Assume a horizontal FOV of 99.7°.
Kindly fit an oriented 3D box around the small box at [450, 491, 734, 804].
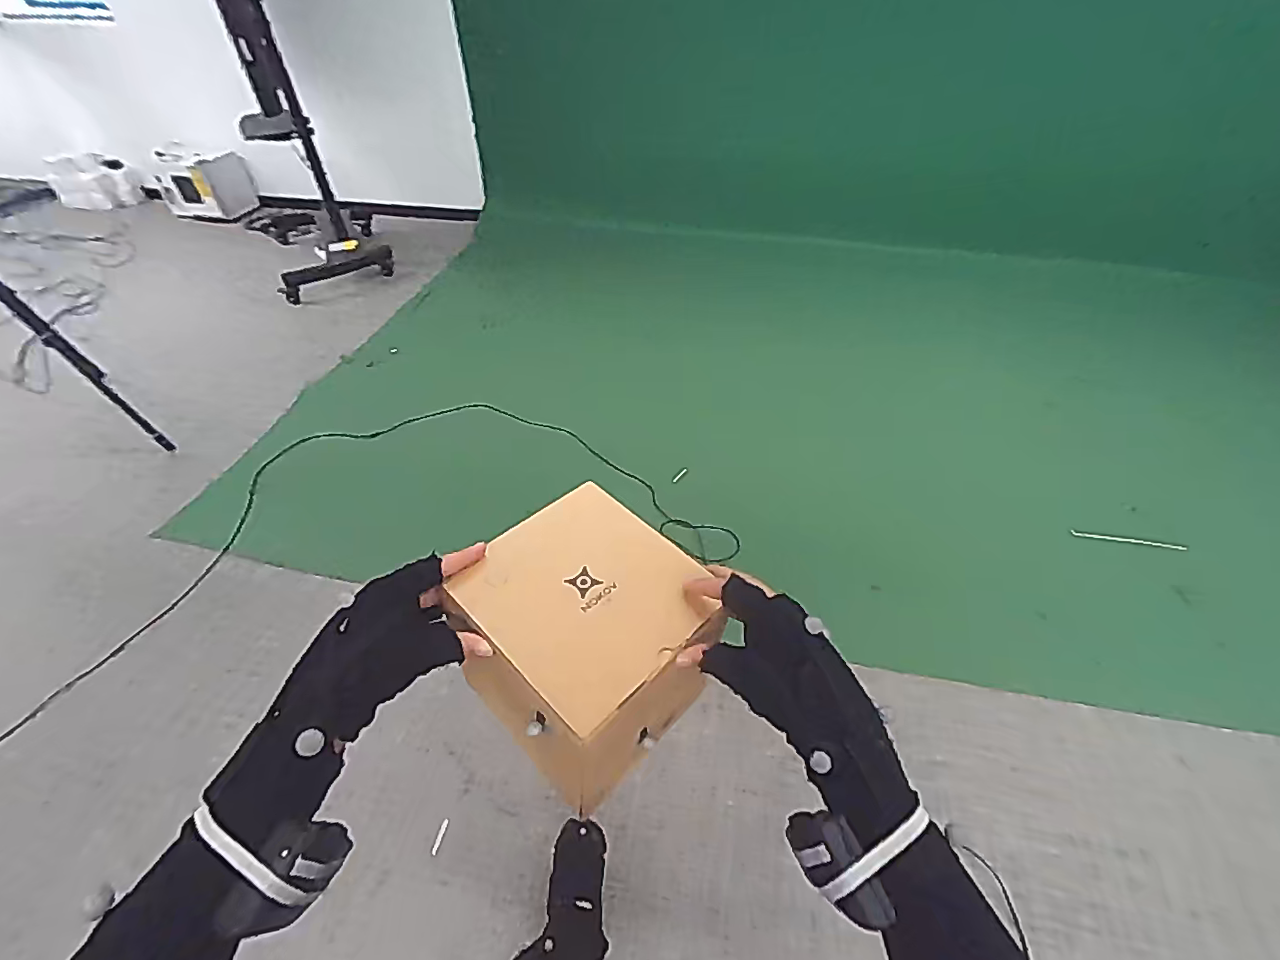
[{"bbox_3d":[-0.047,0.148,0.492,0.179,0.176,0.168,37,51,28],"label":"small box"}]
